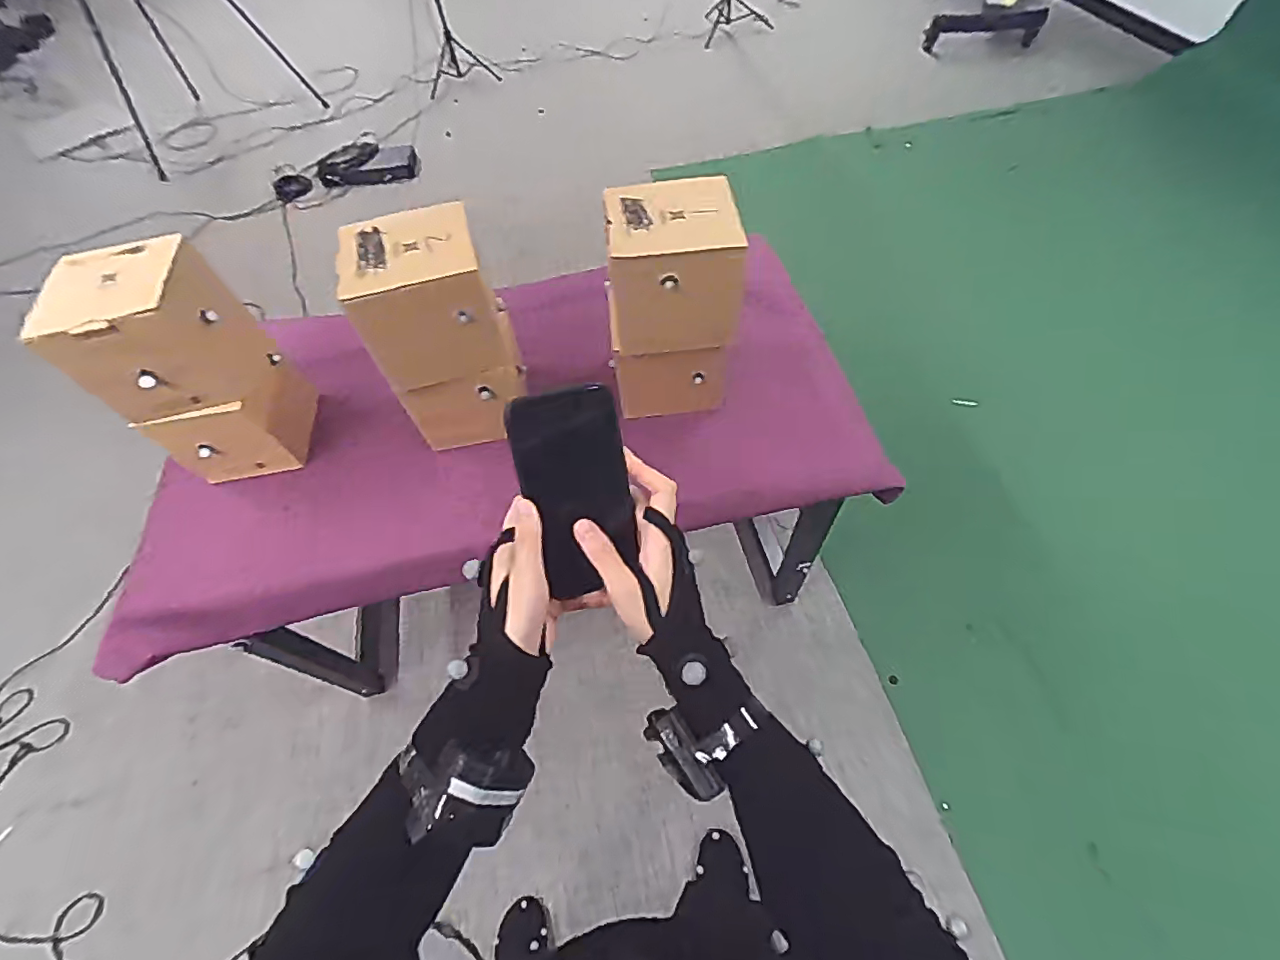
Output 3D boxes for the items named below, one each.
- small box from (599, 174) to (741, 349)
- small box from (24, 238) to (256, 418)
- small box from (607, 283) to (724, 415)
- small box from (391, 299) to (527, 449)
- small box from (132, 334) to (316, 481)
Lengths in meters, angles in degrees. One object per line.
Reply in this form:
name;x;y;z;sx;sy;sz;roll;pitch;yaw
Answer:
small box;0.041;-0.307;0.780;0.179;0.176;0.168;-6;57;0
small box;-0.695;-0.209;0.780;0.168;0.176;0.179;-15;58;-5
small box;0.042;-0.230;0.925;0.179;0.176;0.168;-6;57;2
small box;-0.294;-0.175;0.917;0.179;0.176;0.168;-12;57;-2
small box;-0.681;-0.113;0.913;0.168;0.176;0.179;-11;57;-2
